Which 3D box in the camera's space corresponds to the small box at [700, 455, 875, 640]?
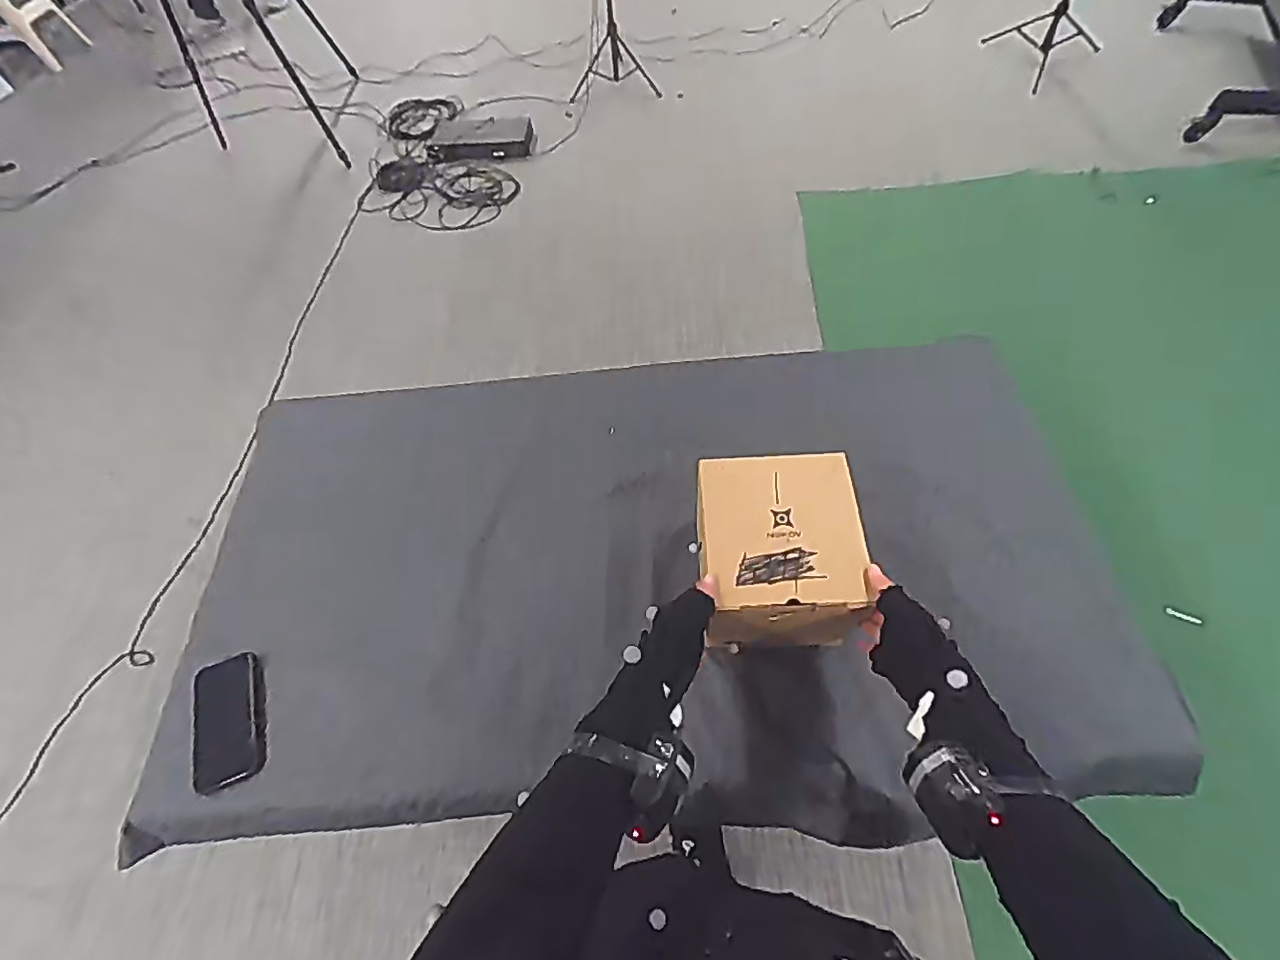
[{"bbox_3d":[0.159,0.089,0.648,0.168,0.176,0.179,-2,60,3],"label":"small box"}]
